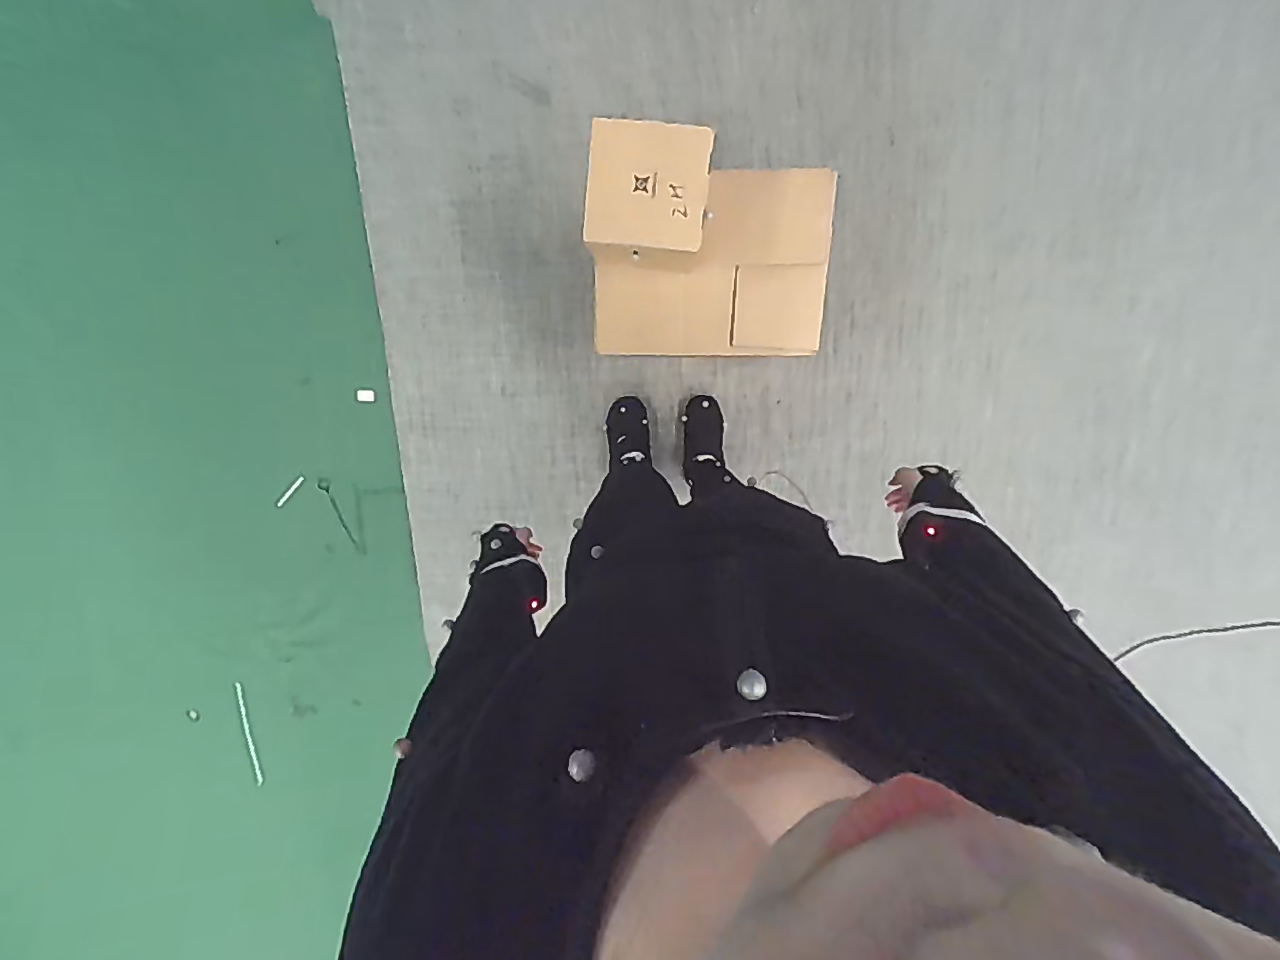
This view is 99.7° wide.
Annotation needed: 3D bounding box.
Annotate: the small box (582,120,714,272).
[{"bbox_3d":[0.015,-0.434,0.851,0.179,0.176,0.168,6,101,2],"label":"small box"}]
